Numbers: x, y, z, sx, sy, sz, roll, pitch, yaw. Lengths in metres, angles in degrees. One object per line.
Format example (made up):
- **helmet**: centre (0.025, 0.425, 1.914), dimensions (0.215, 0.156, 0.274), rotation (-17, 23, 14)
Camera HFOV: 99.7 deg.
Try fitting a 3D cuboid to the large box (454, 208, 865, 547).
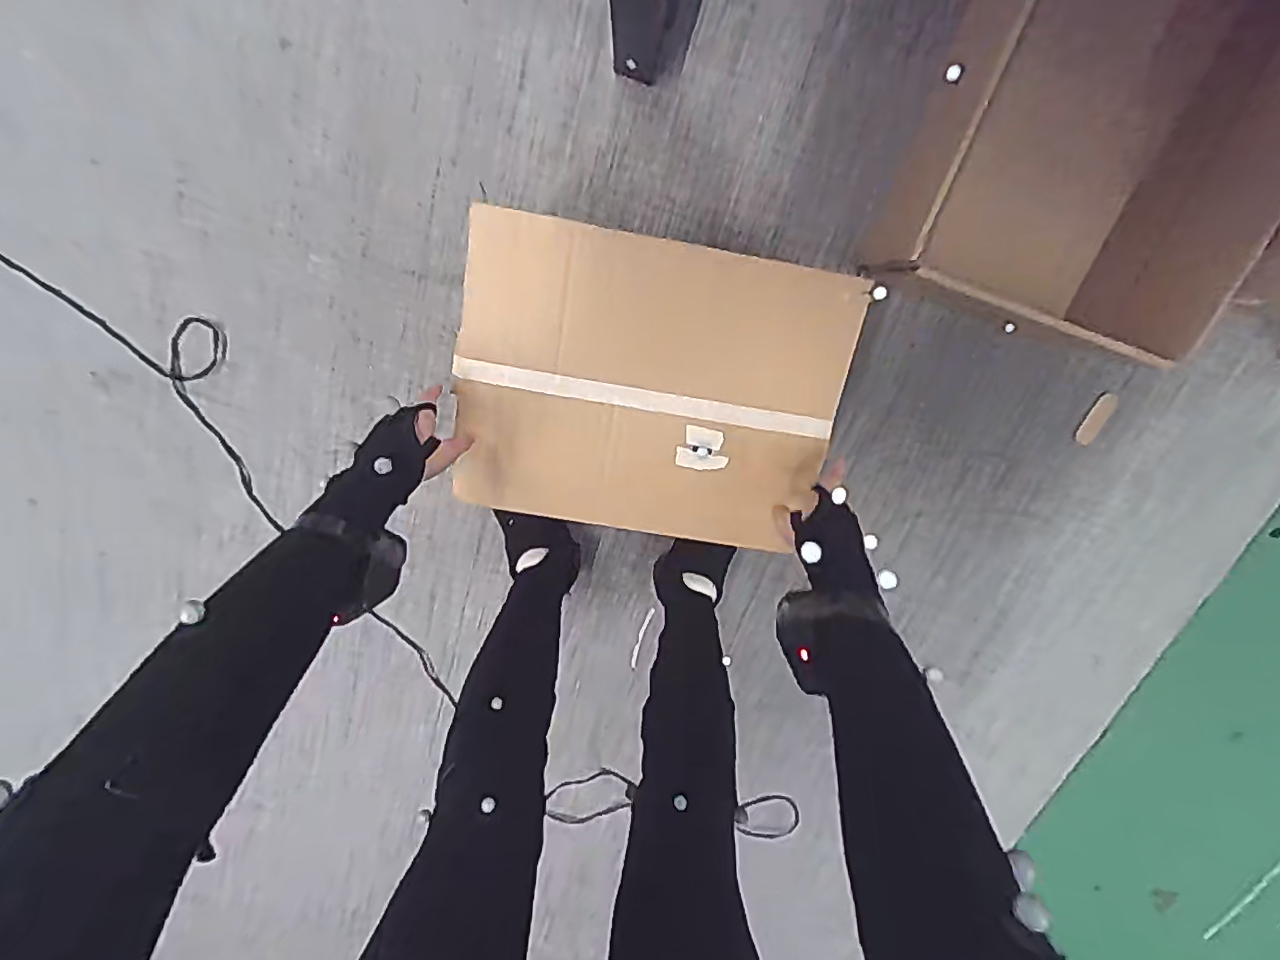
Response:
- **large box**: centre (0.003, -0.136, 0.714), dimensions (0.408, 0.320, 0.320), rotation (9, 109, -5)
